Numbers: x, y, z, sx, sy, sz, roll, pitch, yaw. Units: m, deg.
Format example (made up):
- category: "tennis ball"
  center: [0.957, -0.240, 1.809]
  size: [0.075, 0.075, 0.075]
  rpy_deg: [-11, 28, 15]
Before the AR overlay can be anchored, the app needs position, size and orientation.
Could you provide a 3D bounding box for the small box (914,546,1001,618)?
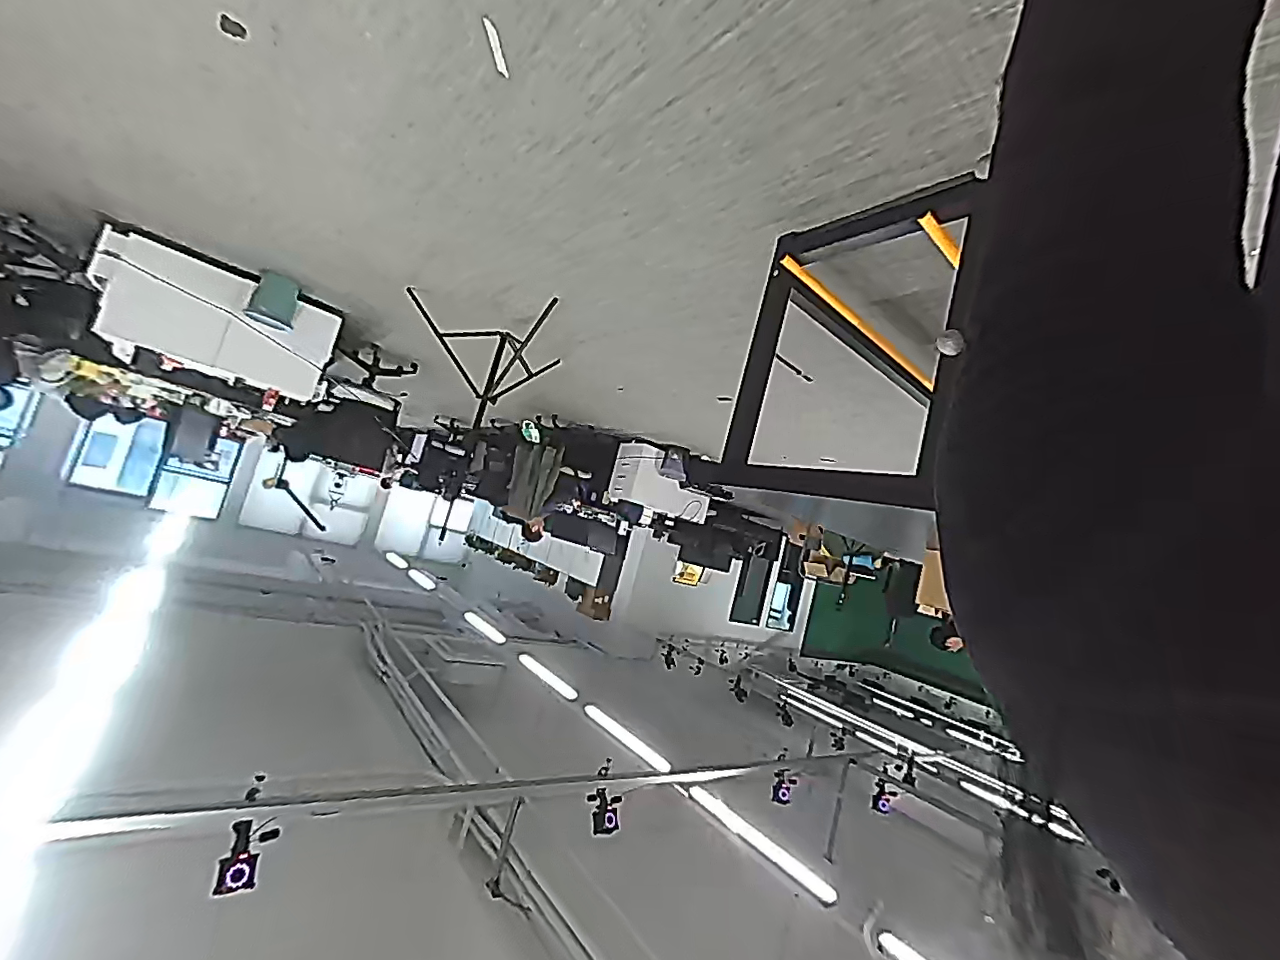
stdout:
- category: "small box"
  center: [0.942, 0.297, 1.596]
  size: [0.168, 0.176, 0.179]
  rpy_deg: [19, 172, -38]
